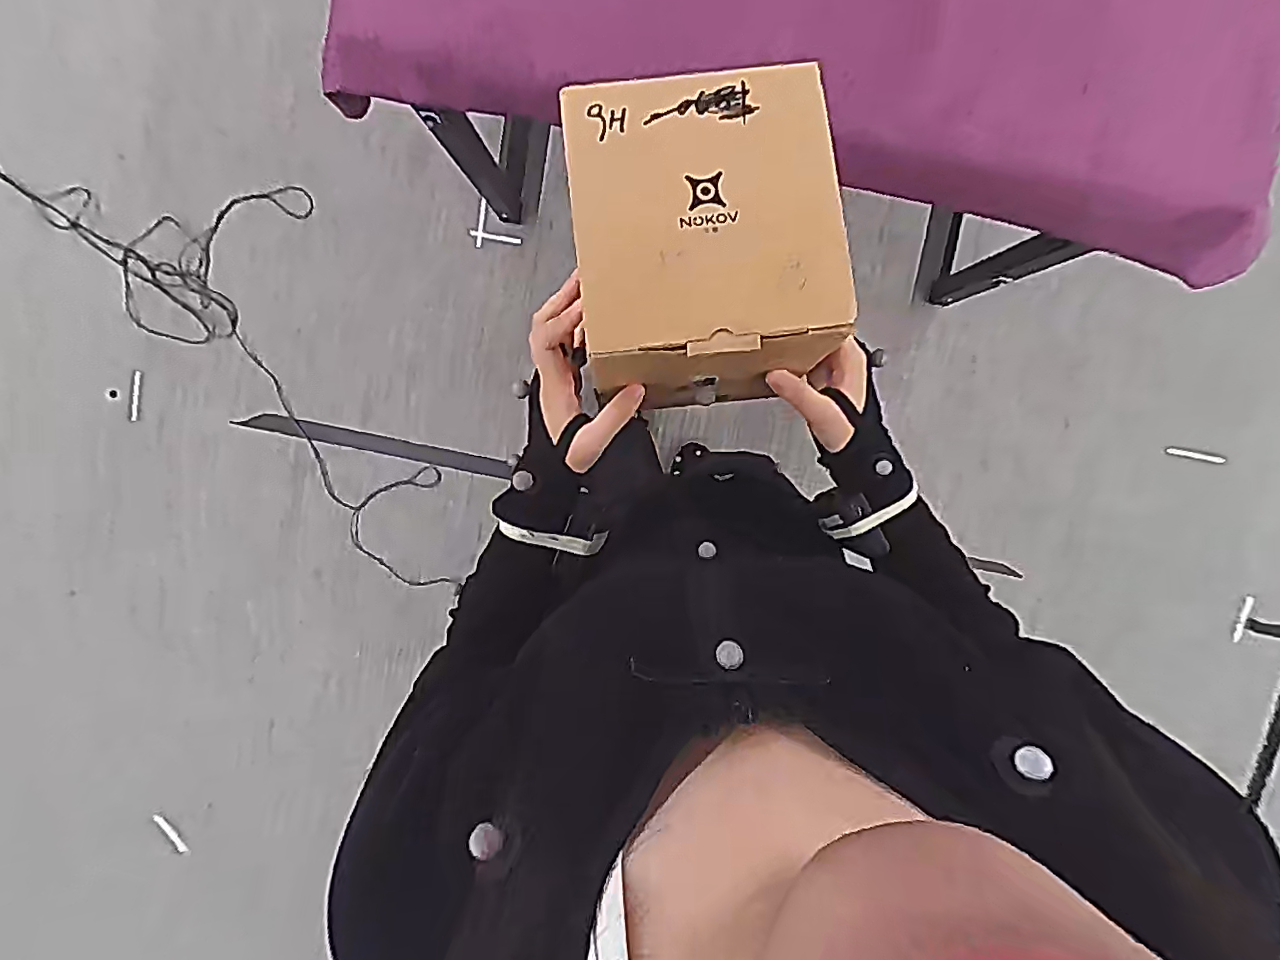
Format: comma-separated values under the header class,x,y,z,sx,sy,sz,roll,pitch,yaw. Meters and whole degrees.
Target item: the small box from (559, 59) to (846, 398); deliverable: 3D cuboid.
class,x,y,z,sx,sy,sz,roll,pitch,yaw
small box,0.038,-0.165,0.414,0.168,0.176,0.179,-6,85,-1
